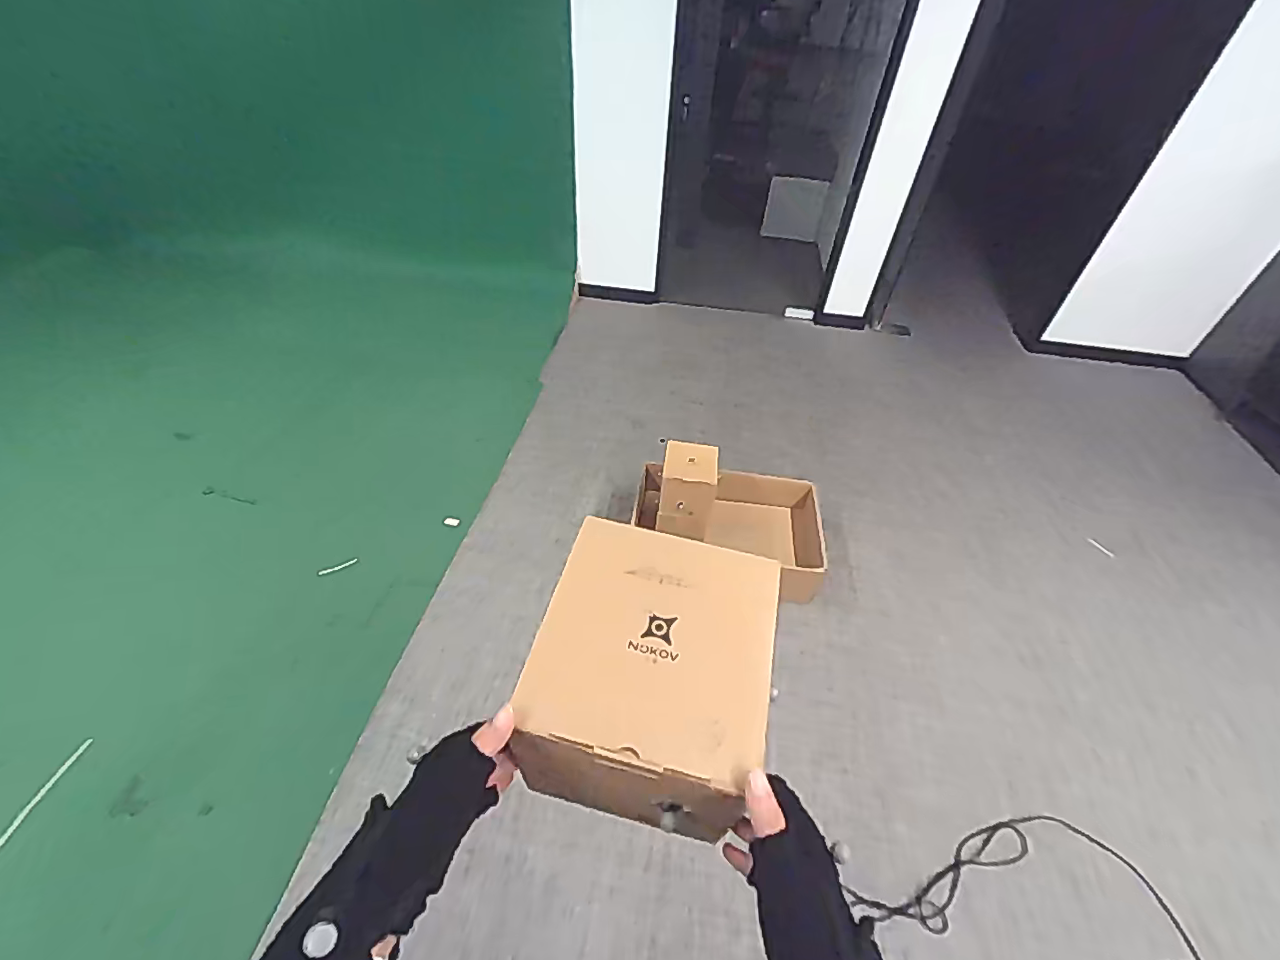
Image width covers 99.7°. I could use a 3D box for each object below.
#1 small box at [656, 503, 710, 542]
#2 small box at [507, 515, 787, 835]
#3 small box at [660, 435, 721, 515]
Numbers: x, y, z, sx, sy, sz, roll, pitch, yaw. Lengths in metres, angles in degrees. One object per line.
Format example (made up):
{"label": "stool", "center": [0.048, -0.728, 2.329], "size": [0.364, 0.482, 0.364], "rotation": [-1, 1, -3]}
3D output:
{"label": "small box", "center": [0.147, 0.102, 1.824], "size": [0.168, 0.176, 0.179], "rotation": [9, 44, 4]}
{"label": "small box", "center": [0.011, 0.162, 0.442], "size": [0.168, 0.176, 0.179], "rotation": [14, 49, 7]}
{"label": "small box", "center": [0.159, -0.015, 1.712], "size": [0.168, 0.176, 0.179], "rotation": [9, 44, 3]}
